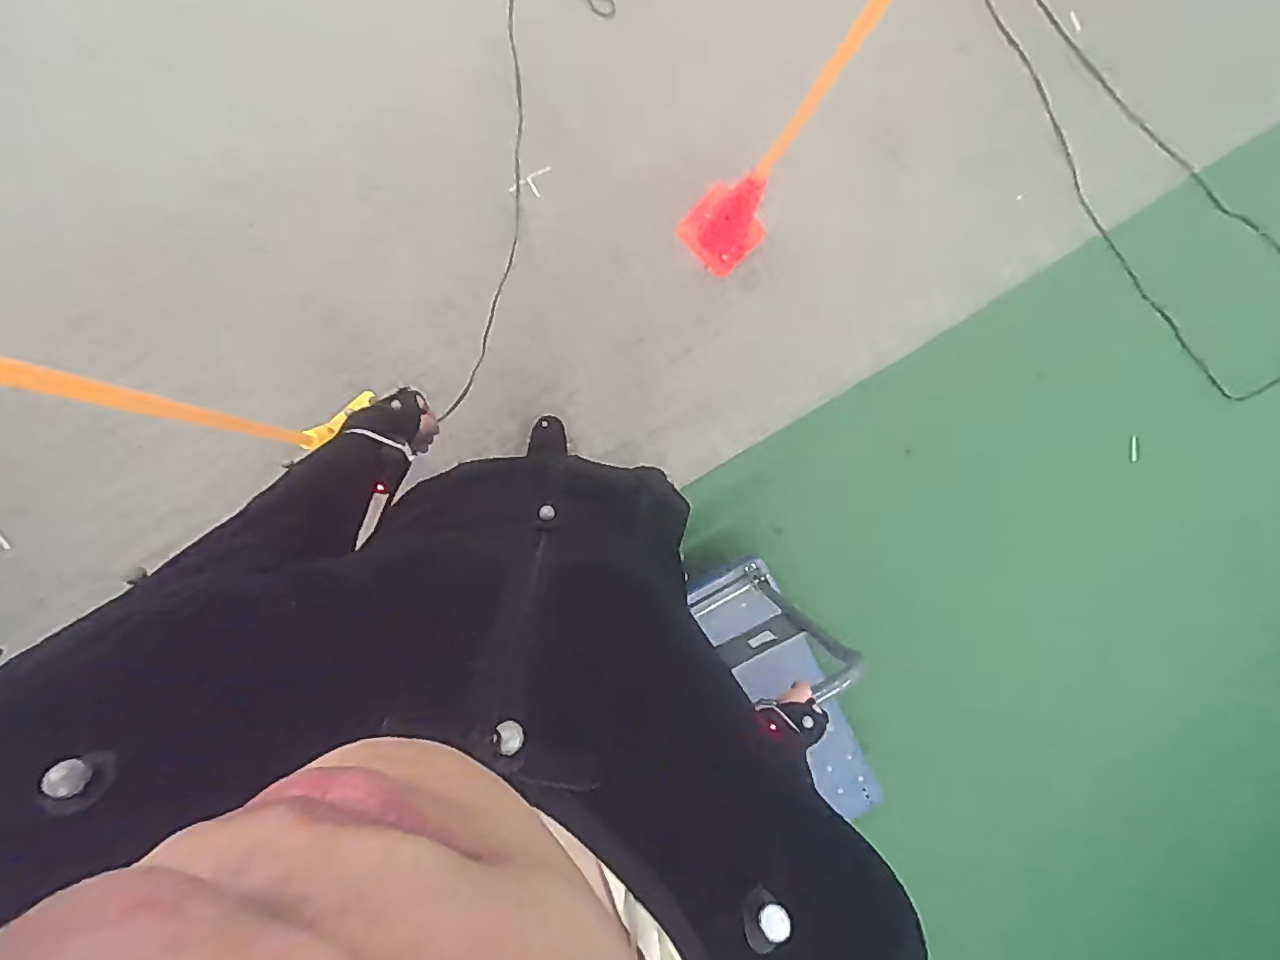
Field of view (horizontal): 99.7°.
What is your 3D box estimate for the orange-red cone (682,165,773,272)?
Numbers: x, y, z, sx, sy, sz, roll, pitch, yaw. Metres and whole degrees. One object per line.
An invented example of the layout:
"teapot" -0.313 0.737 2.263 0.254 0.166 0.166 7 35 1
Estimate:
"orange-red cone" 0.267 -0.721 1.410 0.198 0.360 0.199 45 88 -9
